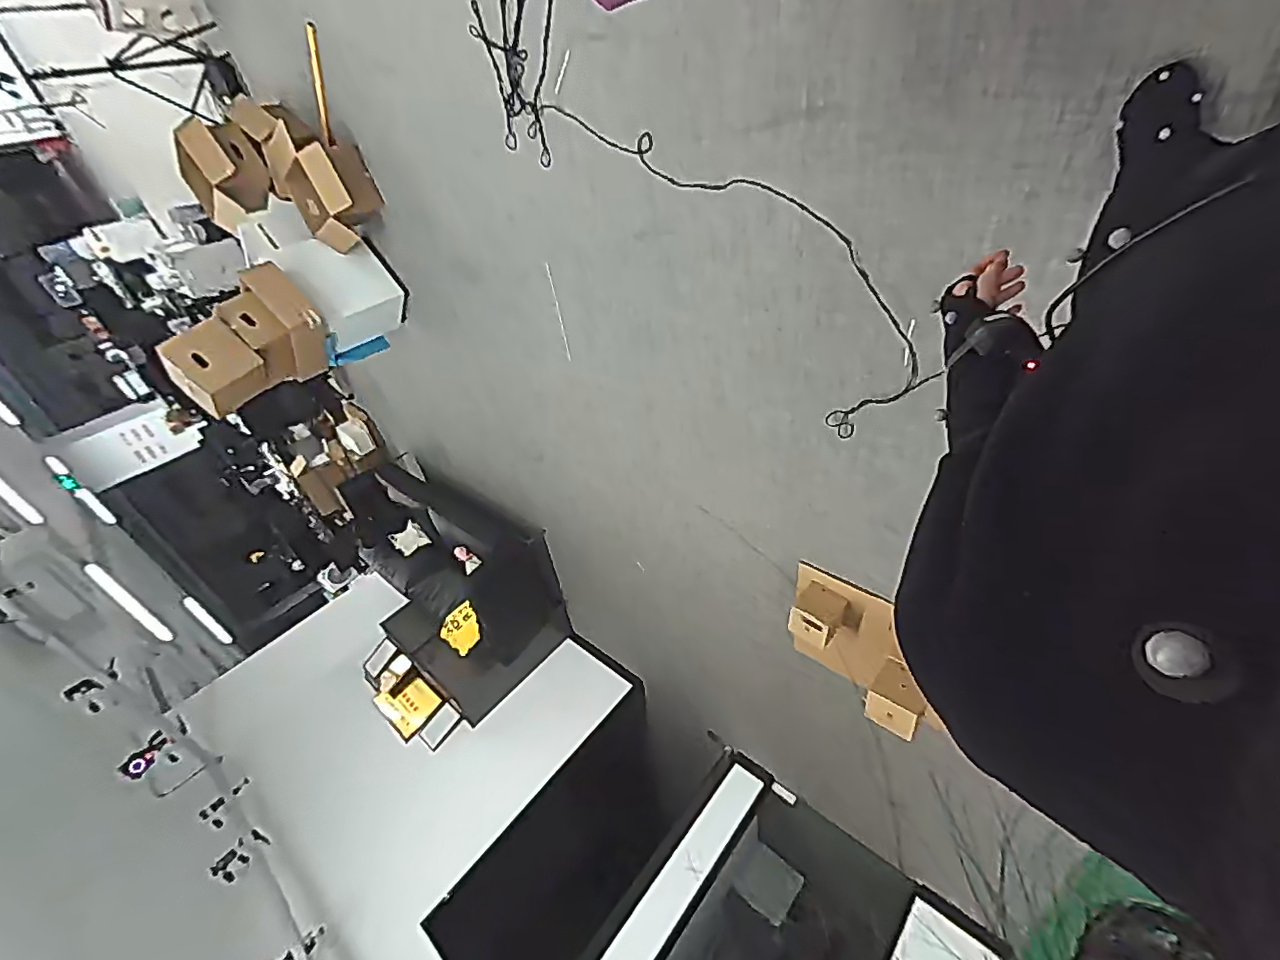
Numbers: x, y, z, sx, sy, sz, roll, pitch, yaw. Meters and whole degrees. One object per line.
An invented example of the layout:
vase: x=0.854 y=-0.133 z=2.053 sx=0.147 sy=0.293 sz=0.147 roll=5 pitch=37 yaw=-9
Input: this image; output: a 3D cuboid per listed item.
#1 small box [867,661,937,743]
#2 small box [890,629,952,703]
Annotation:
small box: x=0.929 y=0.780 z=1.916 sx=0.168 sy=0.176 sz=0.179 roll=23 pitch=139 yaw=37
small box: x=1.035 y=0.687 z=2.003 sx=0.168 sy=0.176 sz=0.179 roll=22 pitch=138 yaw=37
